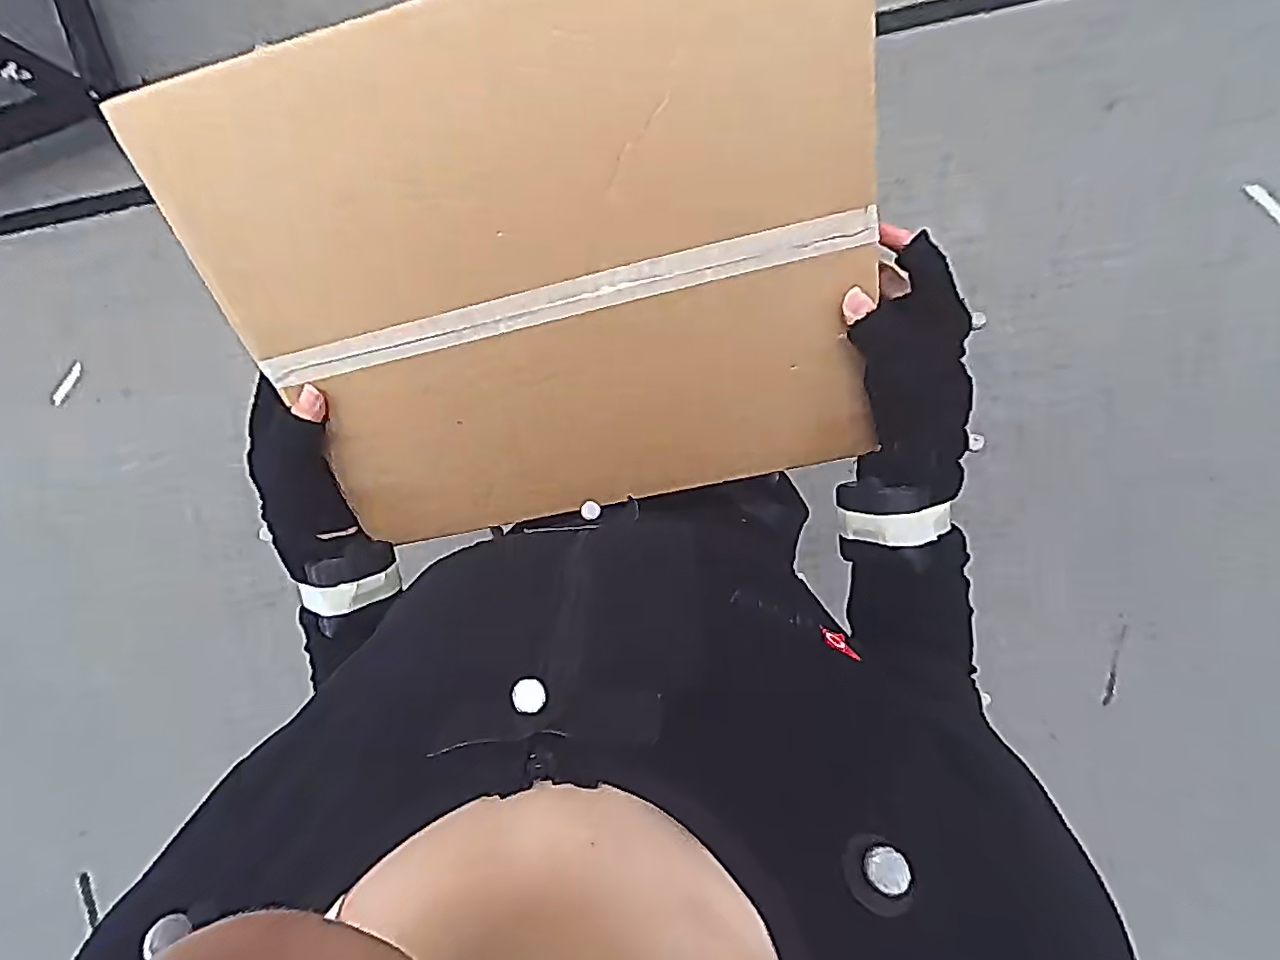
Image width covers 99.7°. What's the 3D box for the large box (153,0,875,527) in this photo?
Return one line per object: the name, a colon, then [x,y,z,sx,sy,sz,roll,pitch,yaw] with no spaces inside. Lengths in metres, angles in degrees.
large box: [-0.053,-0.202,0.481,0.408,0.320,0.320,-11,121,7]
